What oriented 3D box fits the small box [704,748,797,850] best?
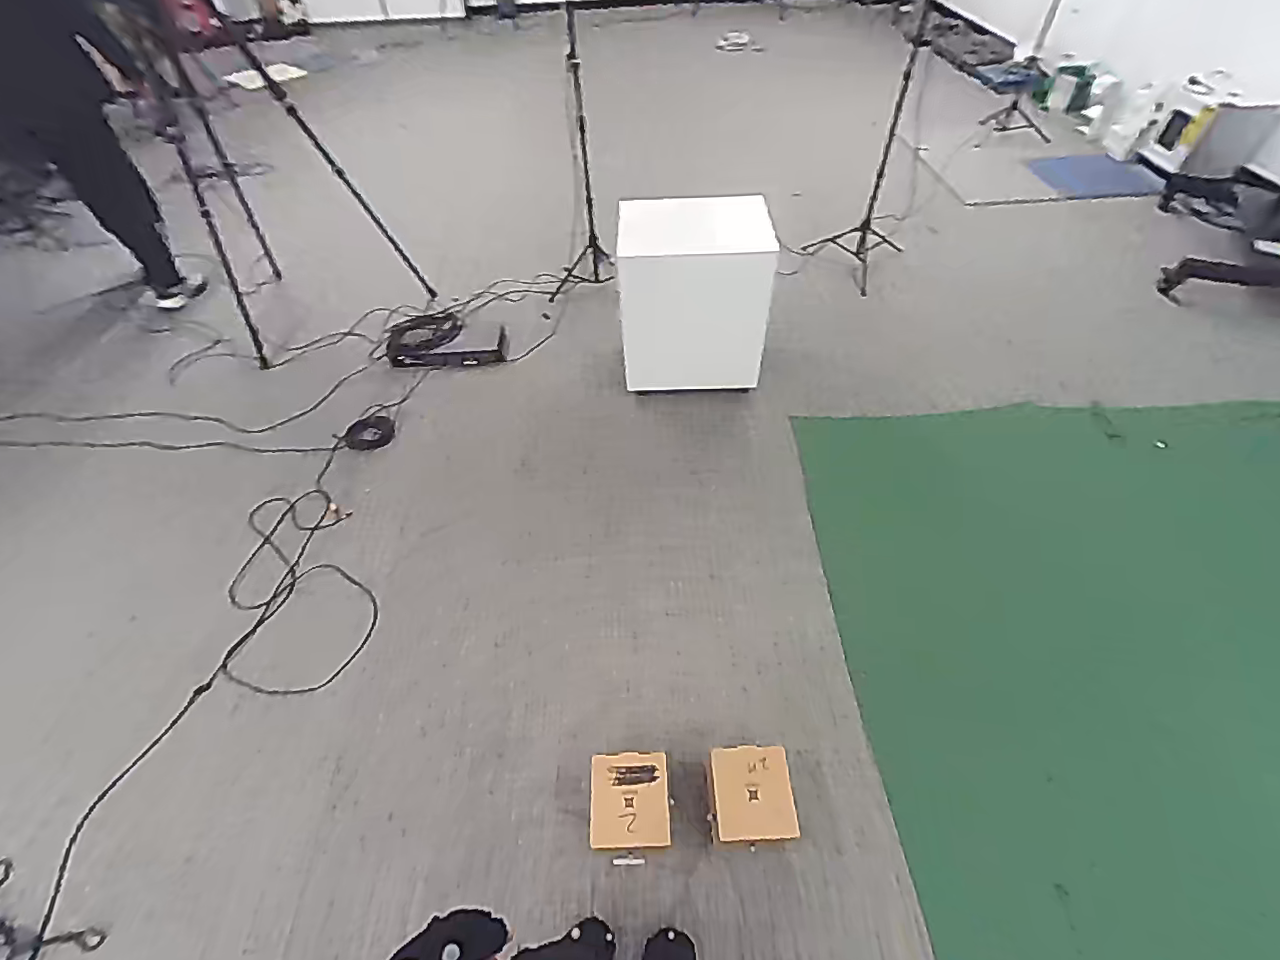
[{"bbox_3d":[0.236,0.711,1.197,0.168,0.176,0.179,-2,50,0],"label":"small box"}]
